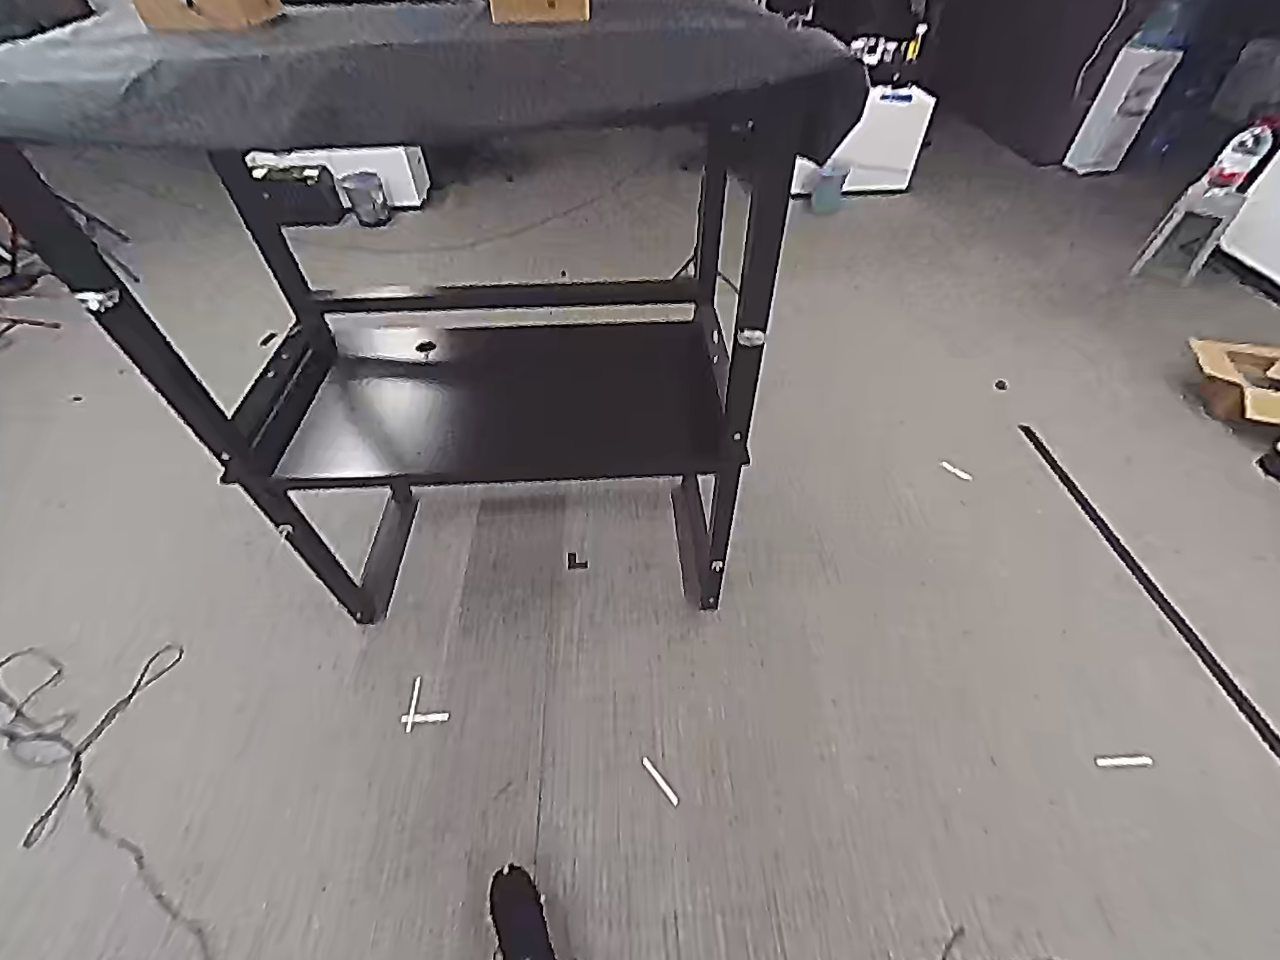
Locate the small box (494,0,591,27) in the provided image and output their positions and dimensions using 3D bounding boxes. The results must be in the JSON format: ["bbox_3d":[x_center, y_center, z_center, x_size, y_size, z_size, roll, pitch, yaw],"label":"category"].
[{"bbox_3d":[-0.173,-0.905,0.937,0.168,0.176,0.179,-3,48,-2],"label":"small box"}]

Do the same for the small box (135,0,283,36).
[{"bbox_3d":[-0.749,-0.873,0.913,0.179,0.176,0.168,-3,48,-4],"label":"small box"}]
